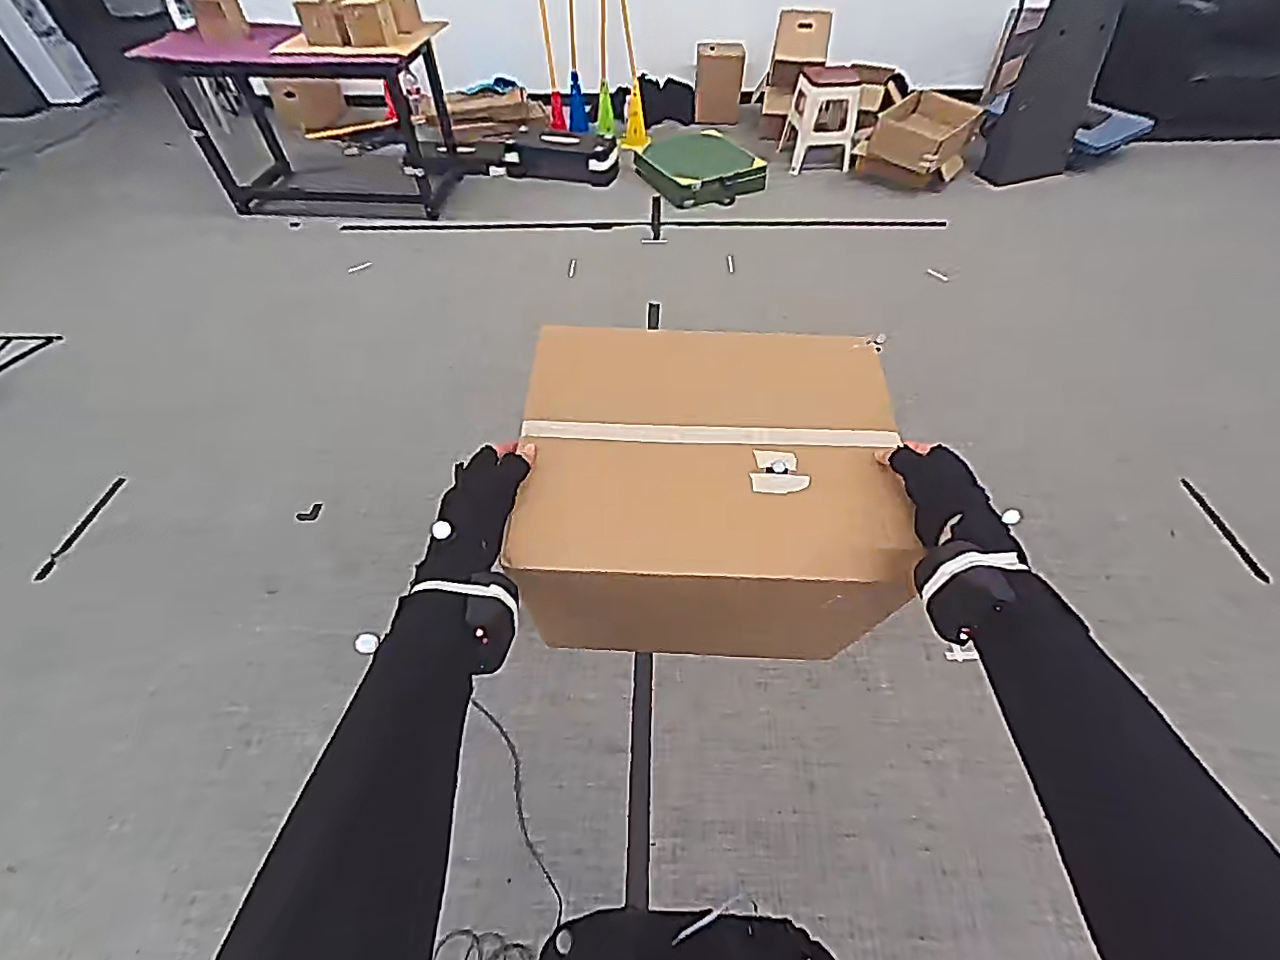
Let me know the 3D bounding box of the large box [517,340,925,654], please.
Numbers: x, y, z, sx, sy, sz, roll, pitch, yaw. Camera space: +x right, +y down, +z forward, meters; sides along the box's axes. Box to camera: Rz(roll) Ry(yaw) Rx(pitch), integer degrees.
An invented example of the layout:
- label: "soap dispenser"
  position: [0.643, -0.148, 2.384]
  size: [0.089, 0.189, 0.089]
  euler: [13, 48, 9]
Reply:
- label: "large box"
  position: [0.078, 0.037, 0.721]
  size: [0.408, 0.320, 0.320]
  euler: [2, 60, 0]
